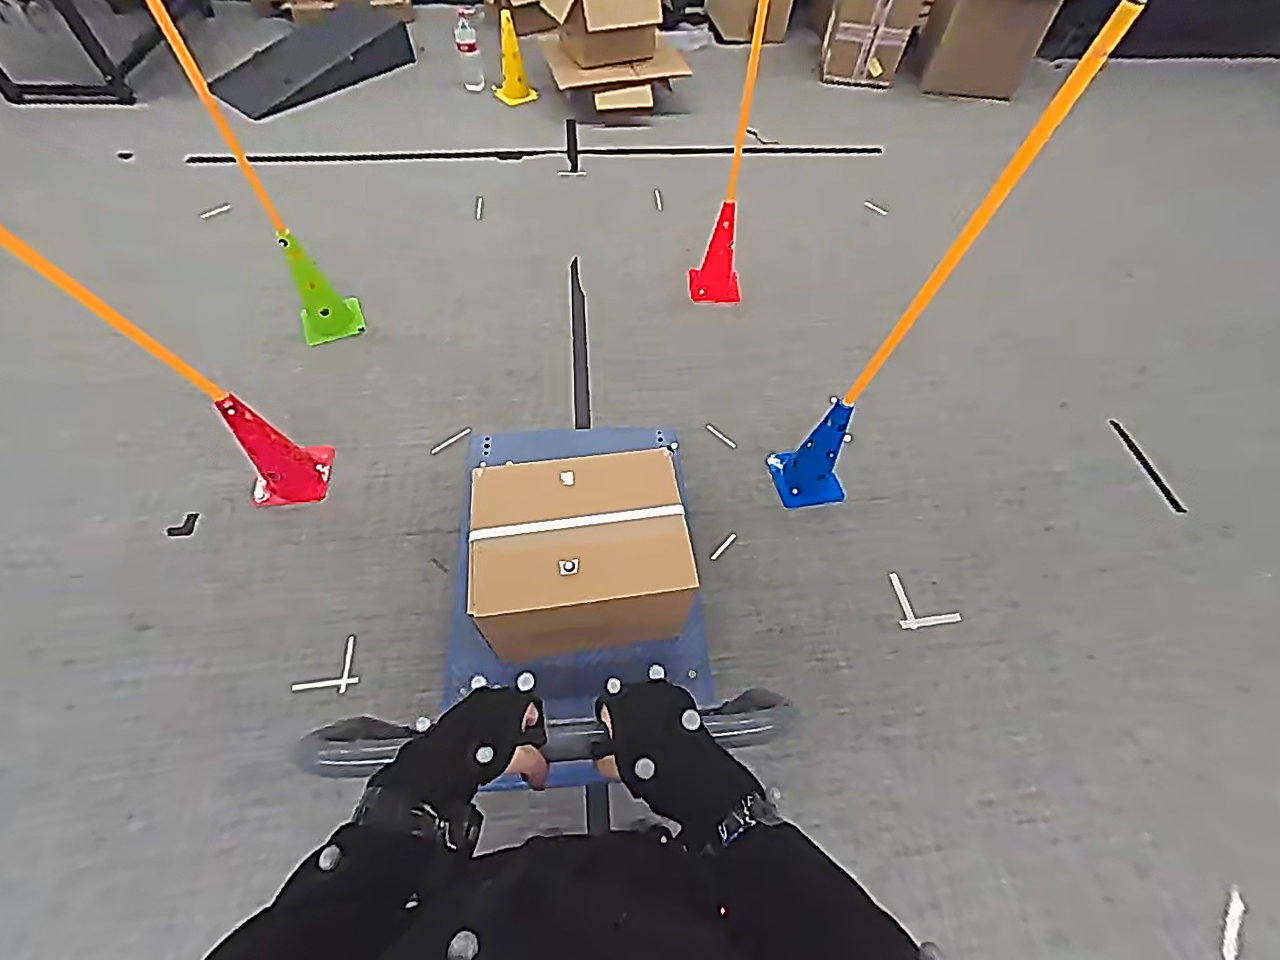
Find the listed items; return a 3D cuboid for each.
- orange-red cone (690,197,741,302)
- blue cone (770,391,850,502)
[{"bbox_3d":[0.306,-0.867,2.002,0.199,0.360,0.198,2,58,-3],"label":"orange-red cone"},{"bbox_3d":[0.523,-0.107,1.549,0.193,0.380,0.192,-7,57,-8],"label":"blue cone"}]
